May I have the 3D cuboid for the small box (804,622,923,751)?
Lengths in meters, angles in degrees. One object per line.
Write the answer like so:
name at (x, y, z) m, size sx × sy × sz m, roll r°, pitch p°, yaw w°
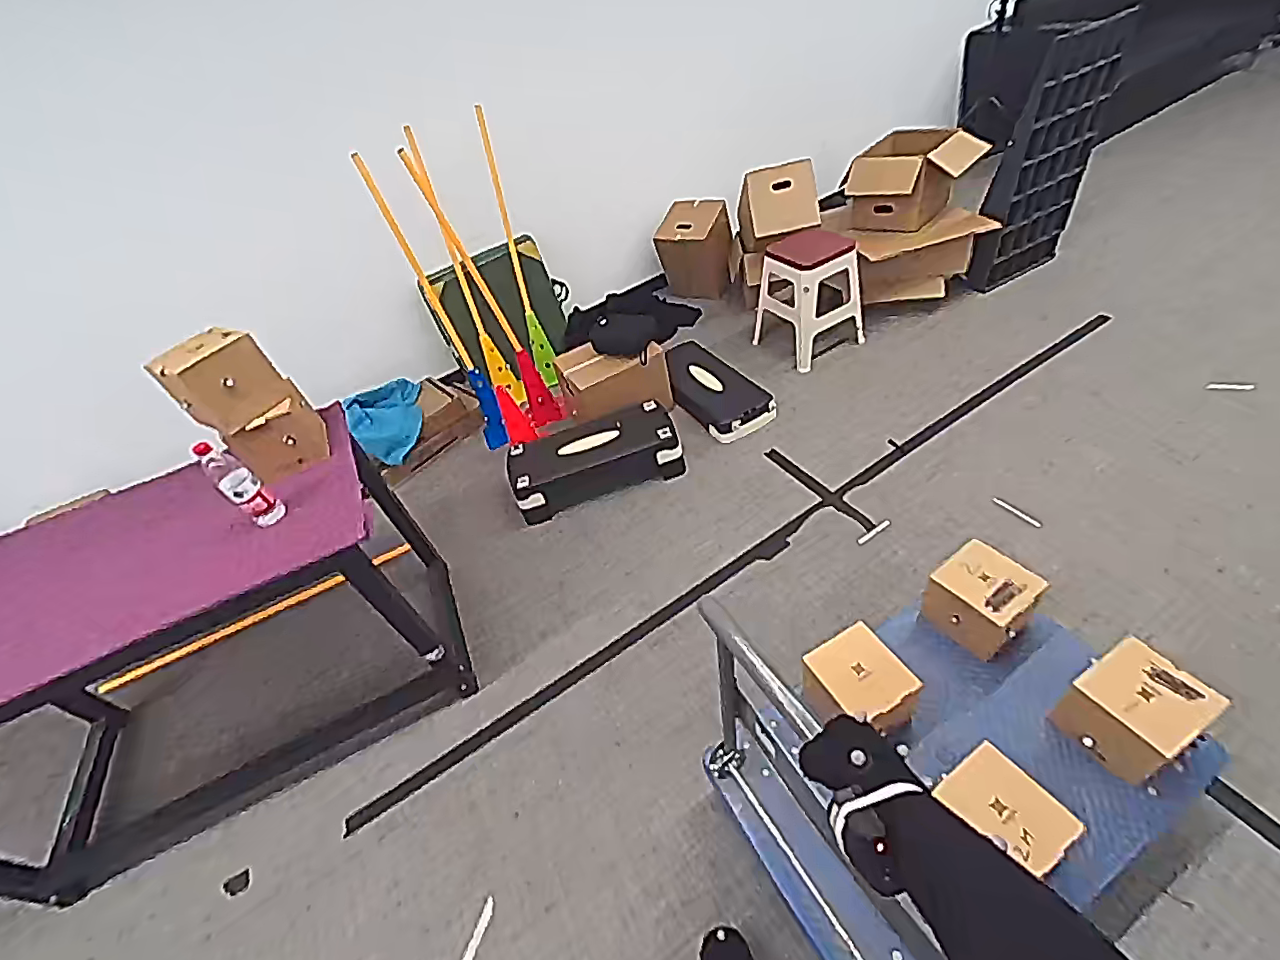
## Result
small box at (0.476, 0.452, 1.183) m, size 0.168 × 0.176 × 0.179 m, roll -26°, pitch 46°, yaw -12°

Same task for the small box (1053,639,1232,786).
small box at (0.953, 0.450, 1.046) m, size 0.179 × 0.176 × 0.168 m, roll -29°, pitch 45°, yaw -12°

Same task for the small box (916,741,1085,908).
small box at (0.628, 0.618, 0.969) m, size 0.168 × 0.176 × 0.179 m, roll -30°, pitch 45°, yaw -15°
